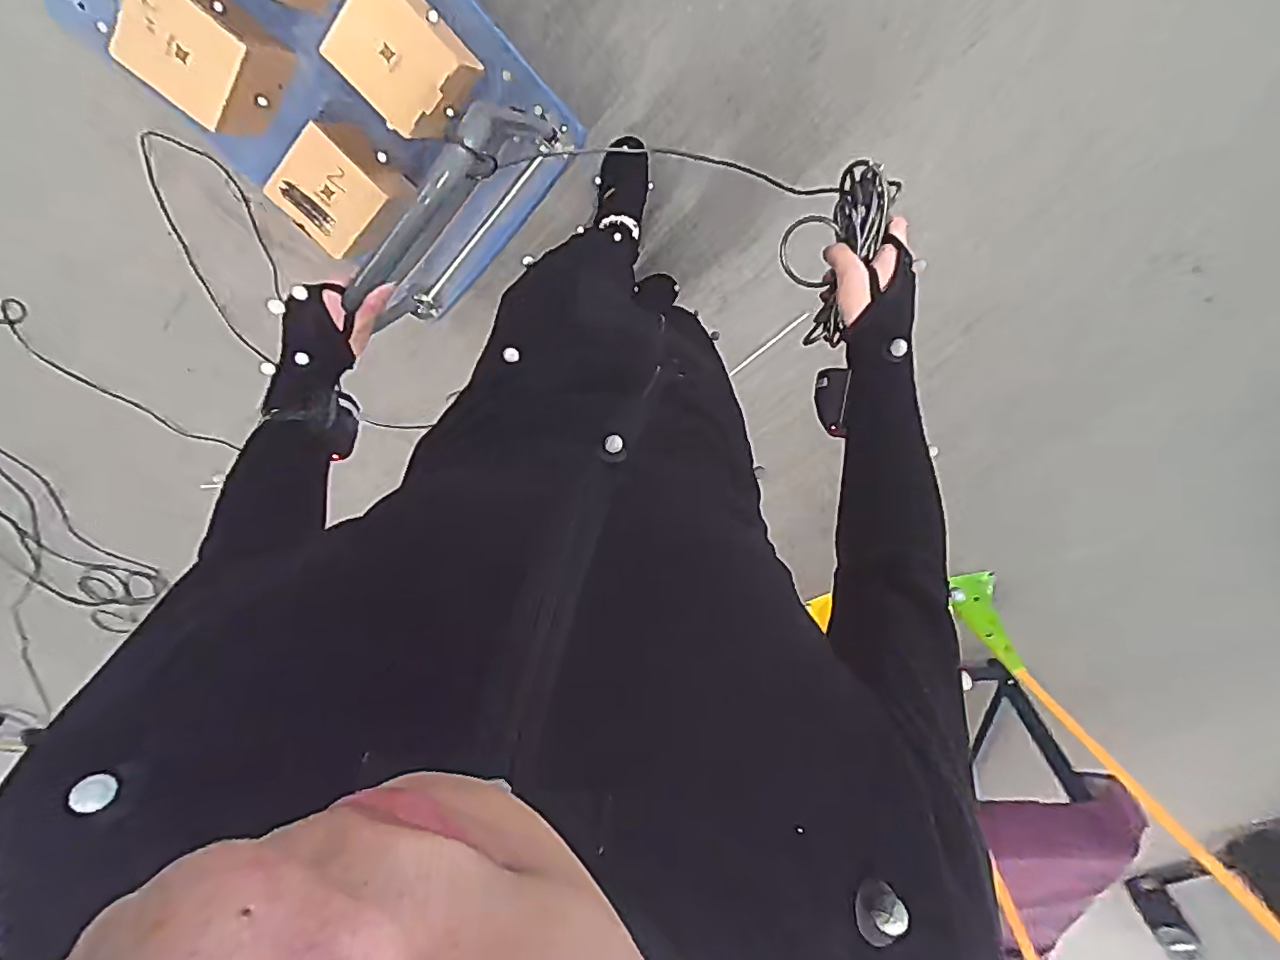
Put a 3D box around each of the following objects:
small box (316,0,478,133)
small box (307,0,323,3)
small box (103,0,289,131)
[{"bbox_3d":[-0.423,-0.758,0.969,0.168,0.176,0.179,-38,117,22],"label":"small box"},{"bbox_3d":[-0.596,-0.916,0.861,0.179,0.176,0.168,38,117,-24],"label":"small box"},{"bbox_3d":[-0.776,-0.763,0.963,0.179,0.176,0.168,37,116,-22],"label":"small box"}]
